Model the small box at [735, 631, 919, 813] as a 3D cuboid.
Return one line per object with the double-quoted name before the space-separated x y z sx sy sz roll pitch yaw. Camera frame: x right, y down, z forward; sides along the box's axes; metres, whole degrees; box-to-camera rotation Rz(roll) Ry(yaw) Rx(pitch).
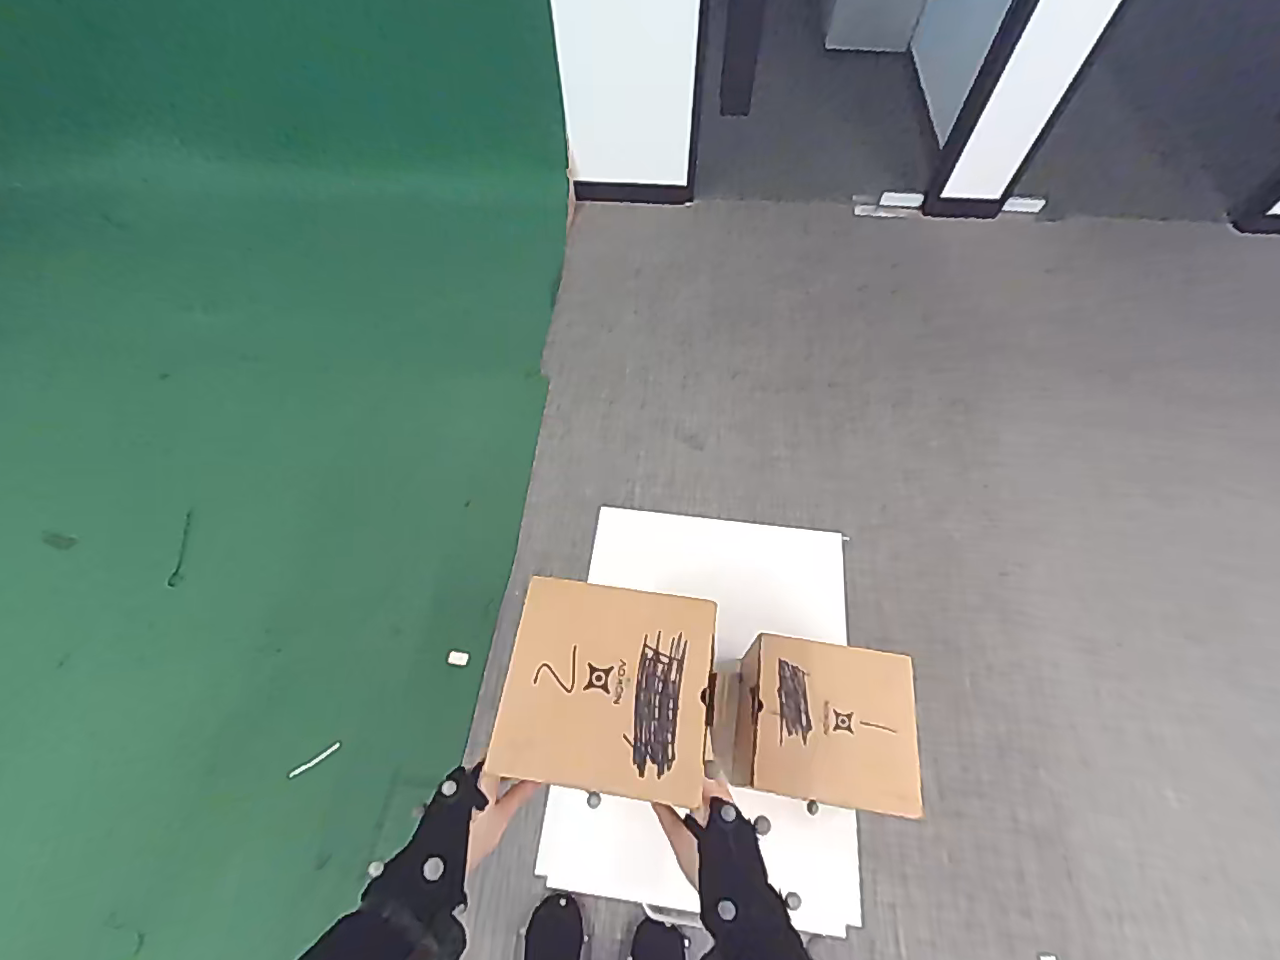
"small box" 0.218 0.301 0.672 0.179 0.176 0.168 8 62 5
